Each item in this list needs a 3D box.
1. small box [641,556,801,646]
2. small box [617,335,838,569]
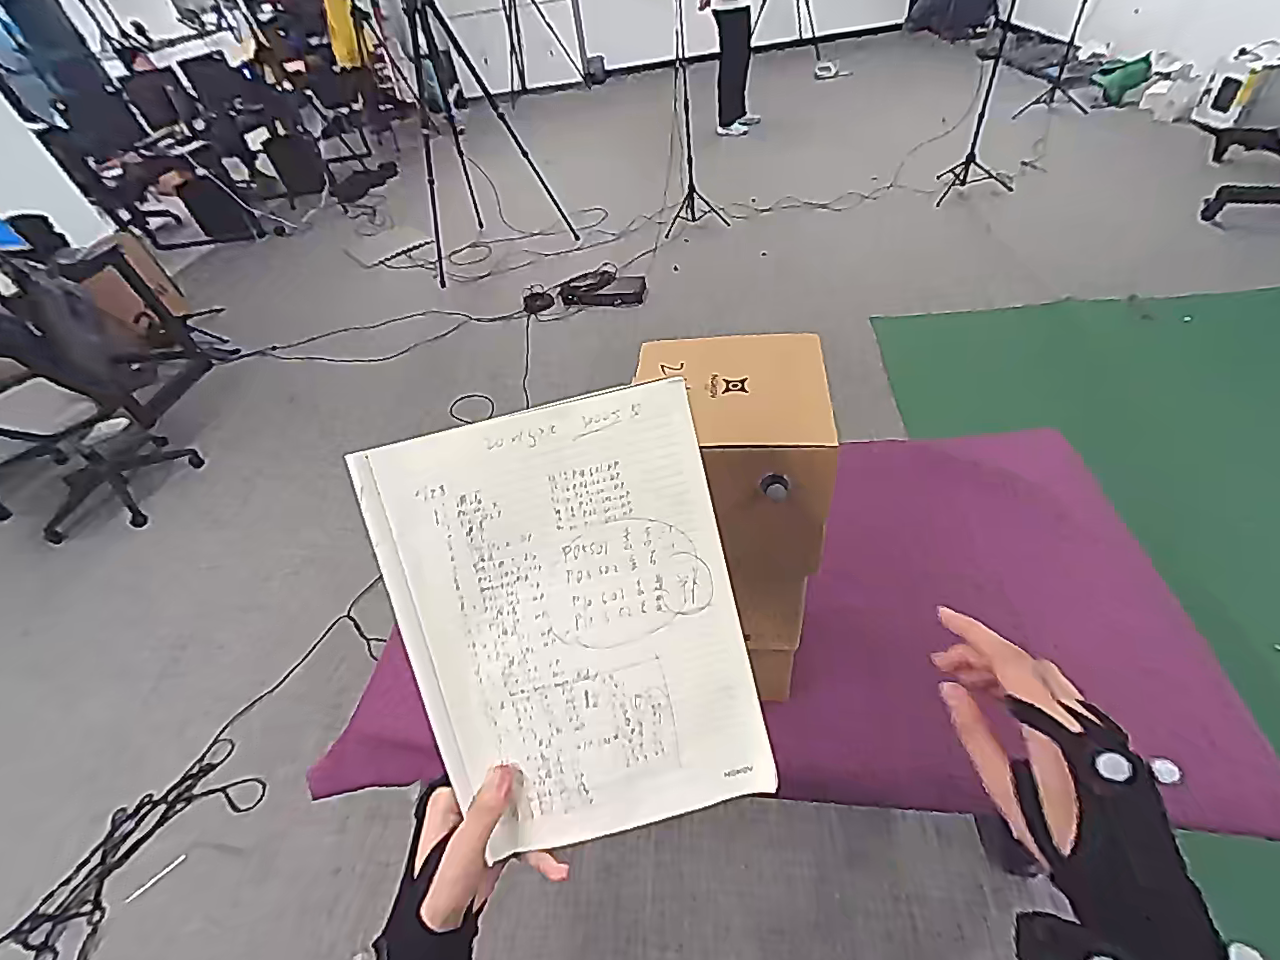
[{"bbox_3d":[0.102,0.086,0.658,0.168,0.176,0.179,-2,45,10],"label":"small box"},{"bbox_3d":[0.088,-0.025,0.537,0.179,0.176,0.168,0,44,11],"label":"small box"}]
